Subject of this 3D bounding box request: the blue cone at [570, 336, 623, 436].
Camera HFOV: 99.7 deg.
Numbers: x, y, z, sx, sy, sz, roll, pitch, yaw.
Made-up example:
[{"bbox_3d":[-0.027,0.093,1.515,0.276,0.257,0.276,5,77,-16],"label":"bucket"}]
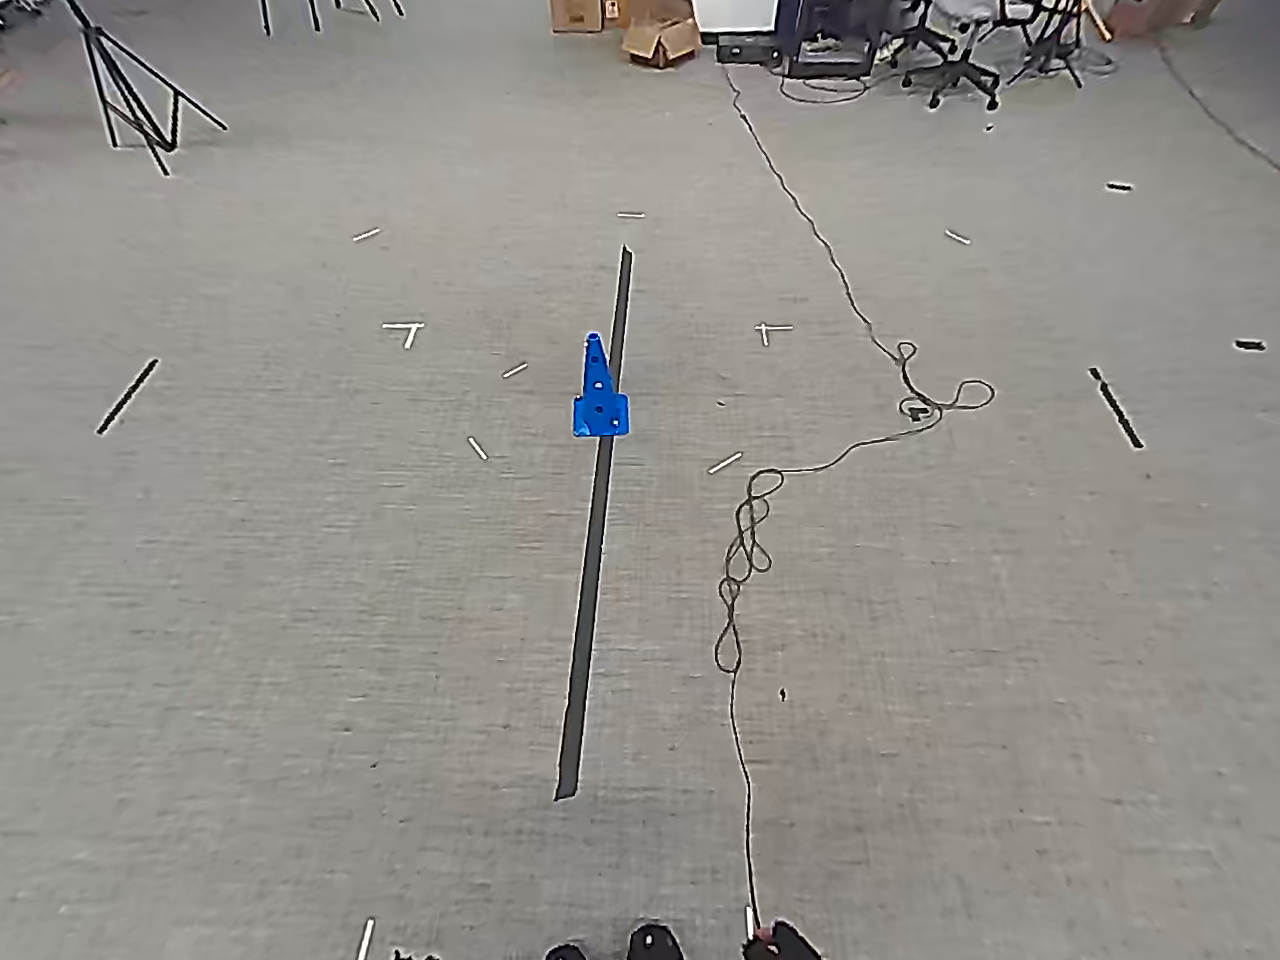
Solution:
[{"bbox_3d":[-0.160,-0.331,1.841,0.192,0.380,0.193,-1,53,0],"label":"blue cone"}]
